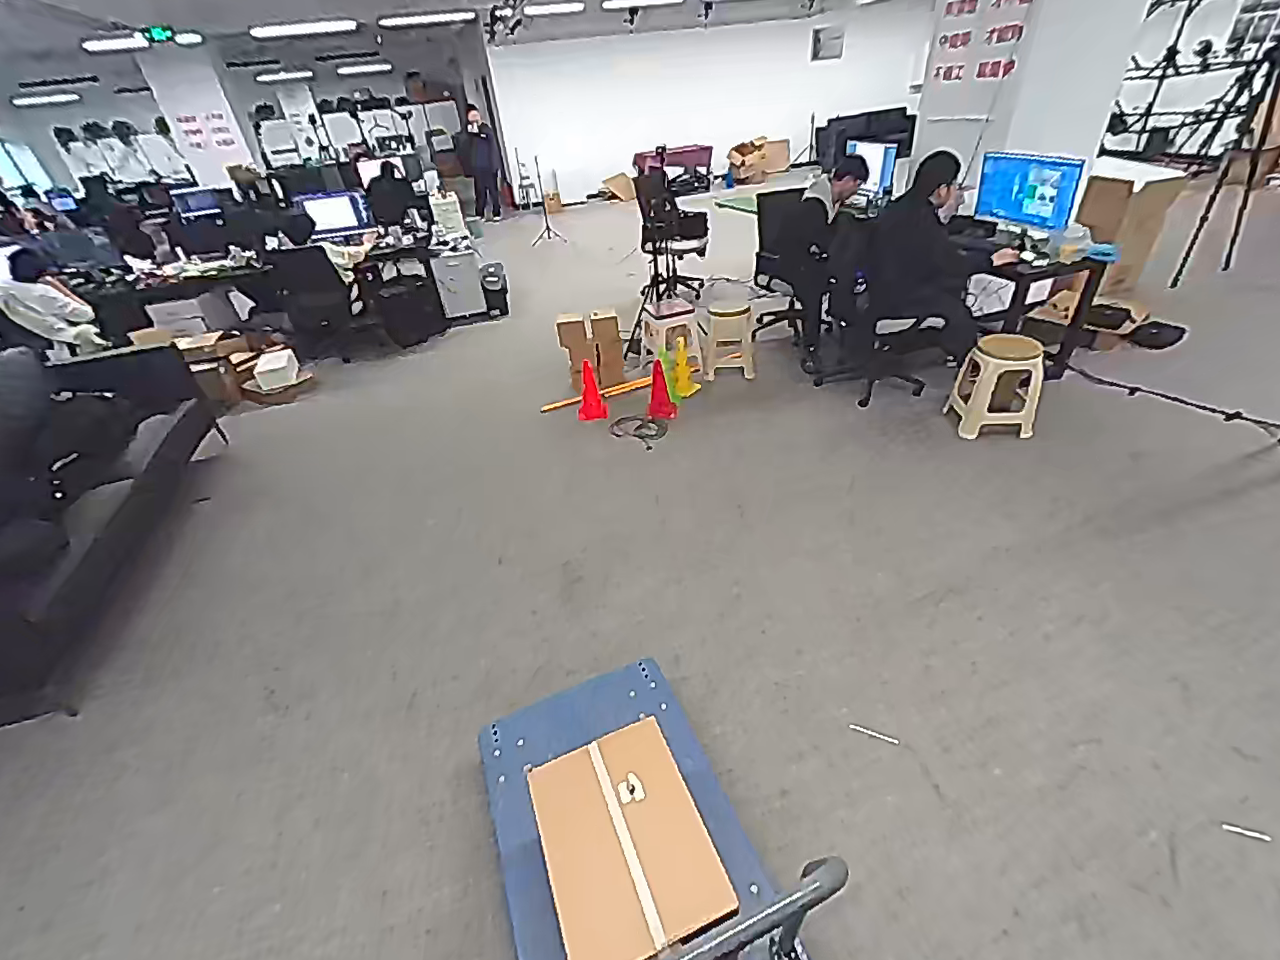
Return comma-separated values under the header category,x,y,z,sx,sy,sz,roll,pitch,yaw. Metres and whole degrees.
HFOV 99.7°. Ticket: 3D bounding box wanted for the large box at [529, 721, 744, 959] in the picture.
category,x,y,z,sx,sy,sz,roll,pitch,yaw
large box,-0.012,0.829,1.163,0.320,0.320,0.408,-18,36,-15
